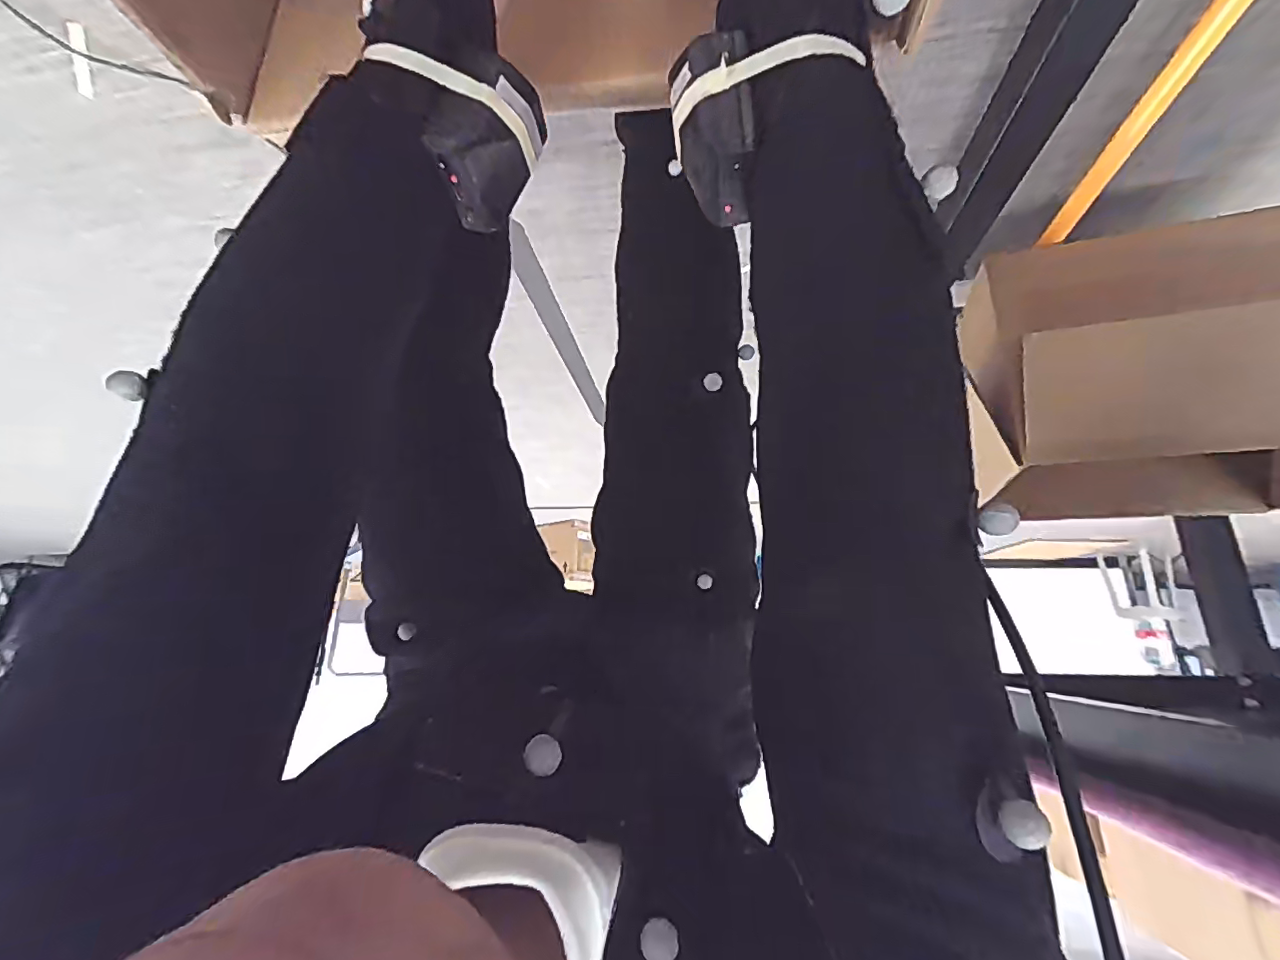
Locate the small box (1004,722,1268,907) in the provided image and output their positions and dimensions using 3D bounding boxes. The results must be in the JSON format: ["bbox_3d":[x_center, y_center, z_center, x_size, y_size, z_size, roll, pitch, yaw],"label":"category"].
[{"bbox_3d":[0.620,0.419,0.705,0.179,0.176,0.168,-2,163,5],"label":"small box"}]
